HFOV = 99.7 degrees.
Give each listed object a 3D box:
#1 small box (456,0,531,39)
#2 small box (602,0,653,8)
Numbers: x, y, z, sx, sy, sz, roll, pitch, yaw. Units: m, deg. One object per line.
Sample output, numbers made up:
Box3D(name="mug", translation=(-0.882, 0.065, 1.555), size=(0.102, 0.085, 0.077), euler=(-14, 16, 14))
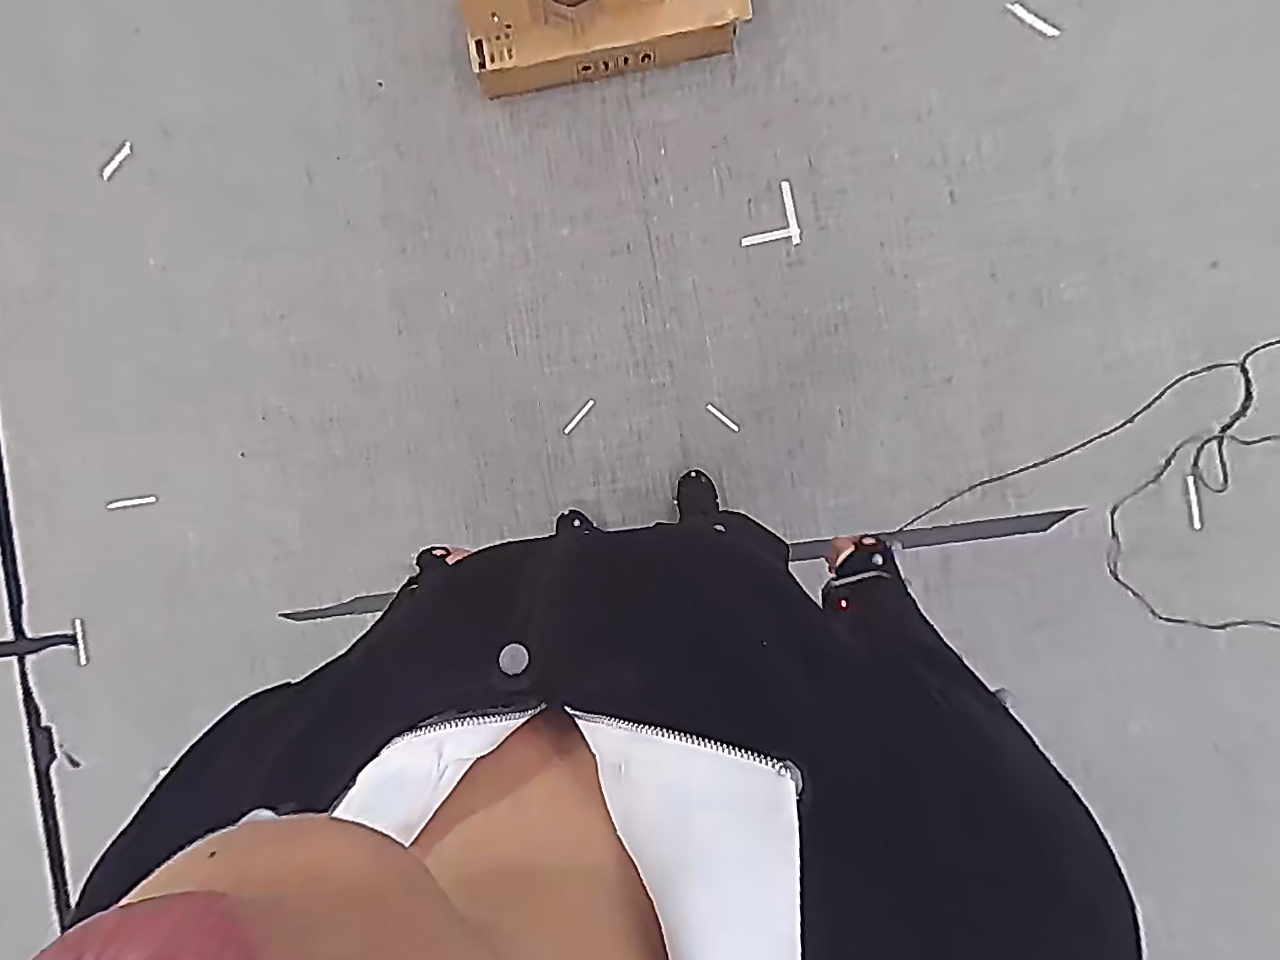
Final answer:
Box3D(name="small box", translation=(-0.378, -1.248, 1.332), size=(0.168, 0.176, 0.179), euler=(-9, 89, 3))
Box3D(name="small box", translation=(-0.033, -1.304, 1.315), size=(0.168, 0.176, 0.179), euler=(-10, 90, 5))
